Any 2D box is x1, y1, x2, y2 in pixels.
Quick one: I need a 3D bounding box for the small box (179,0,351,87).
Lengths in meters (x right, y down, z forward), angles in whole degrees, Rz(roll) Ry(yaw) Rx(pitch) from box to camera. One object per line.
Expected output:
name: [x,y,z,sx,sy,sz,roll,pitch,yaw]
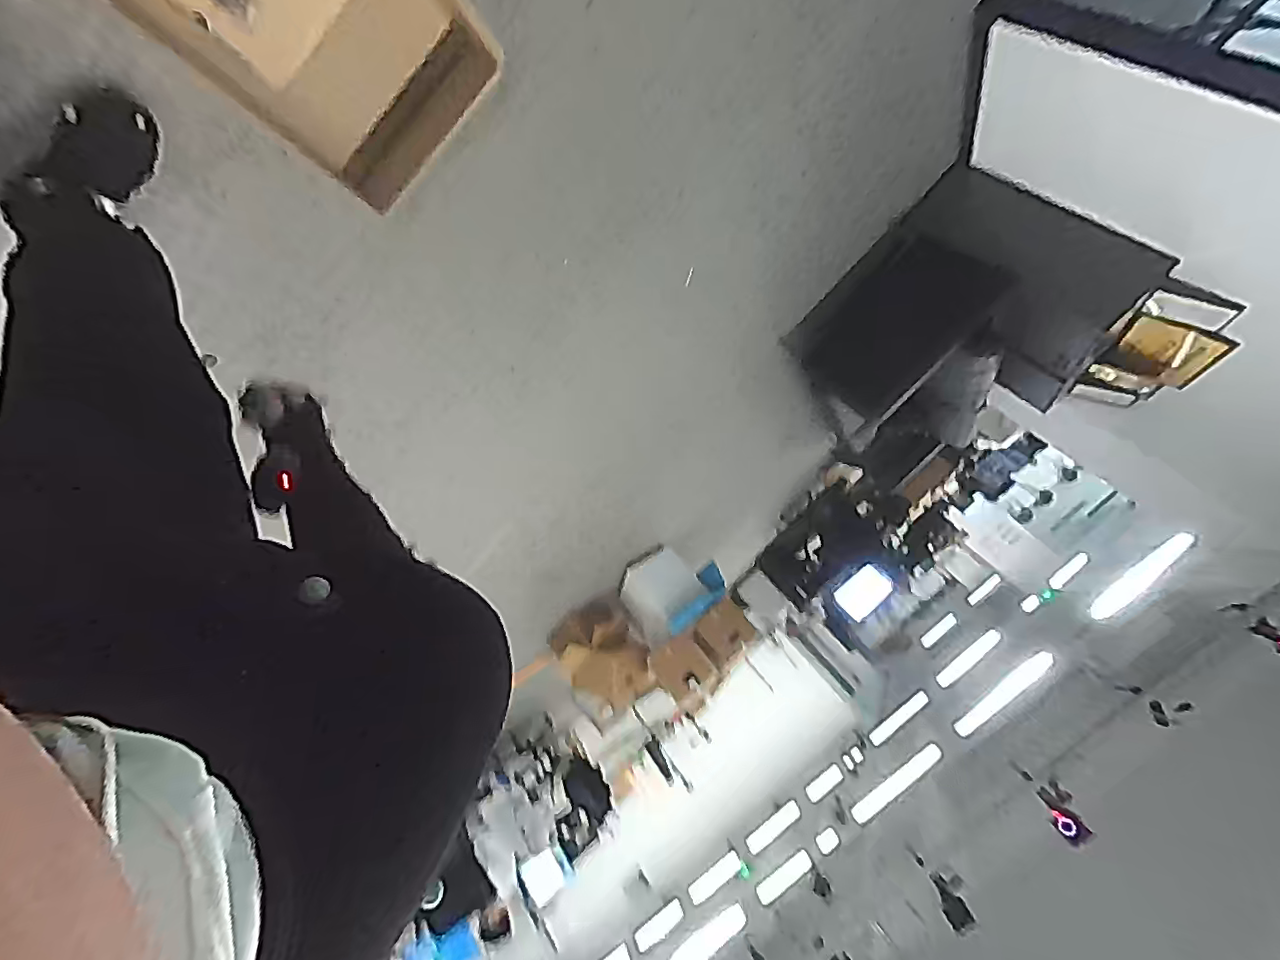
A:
small box: [-0.419,-0.567,0.553,0.179,0.176,0.168,-47,155,8]
